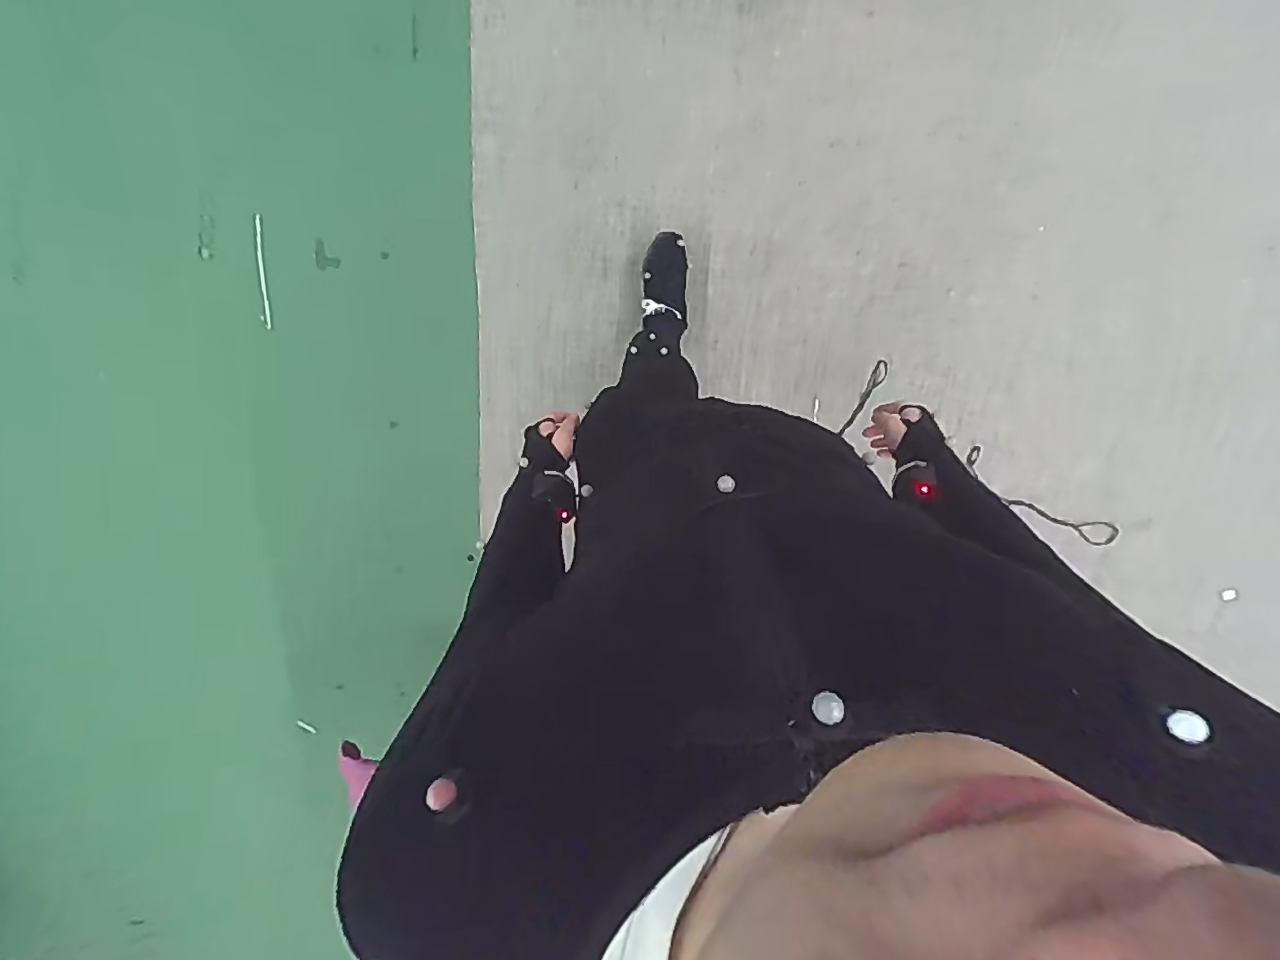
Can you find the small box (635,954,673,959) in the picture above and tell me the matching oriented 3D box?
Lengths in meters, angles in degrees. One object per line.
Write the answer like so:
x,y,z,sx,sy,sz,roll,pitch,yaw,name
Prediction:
0.056,1.127,1.099,0.168,0.176,0.179,3,104,6,small box
